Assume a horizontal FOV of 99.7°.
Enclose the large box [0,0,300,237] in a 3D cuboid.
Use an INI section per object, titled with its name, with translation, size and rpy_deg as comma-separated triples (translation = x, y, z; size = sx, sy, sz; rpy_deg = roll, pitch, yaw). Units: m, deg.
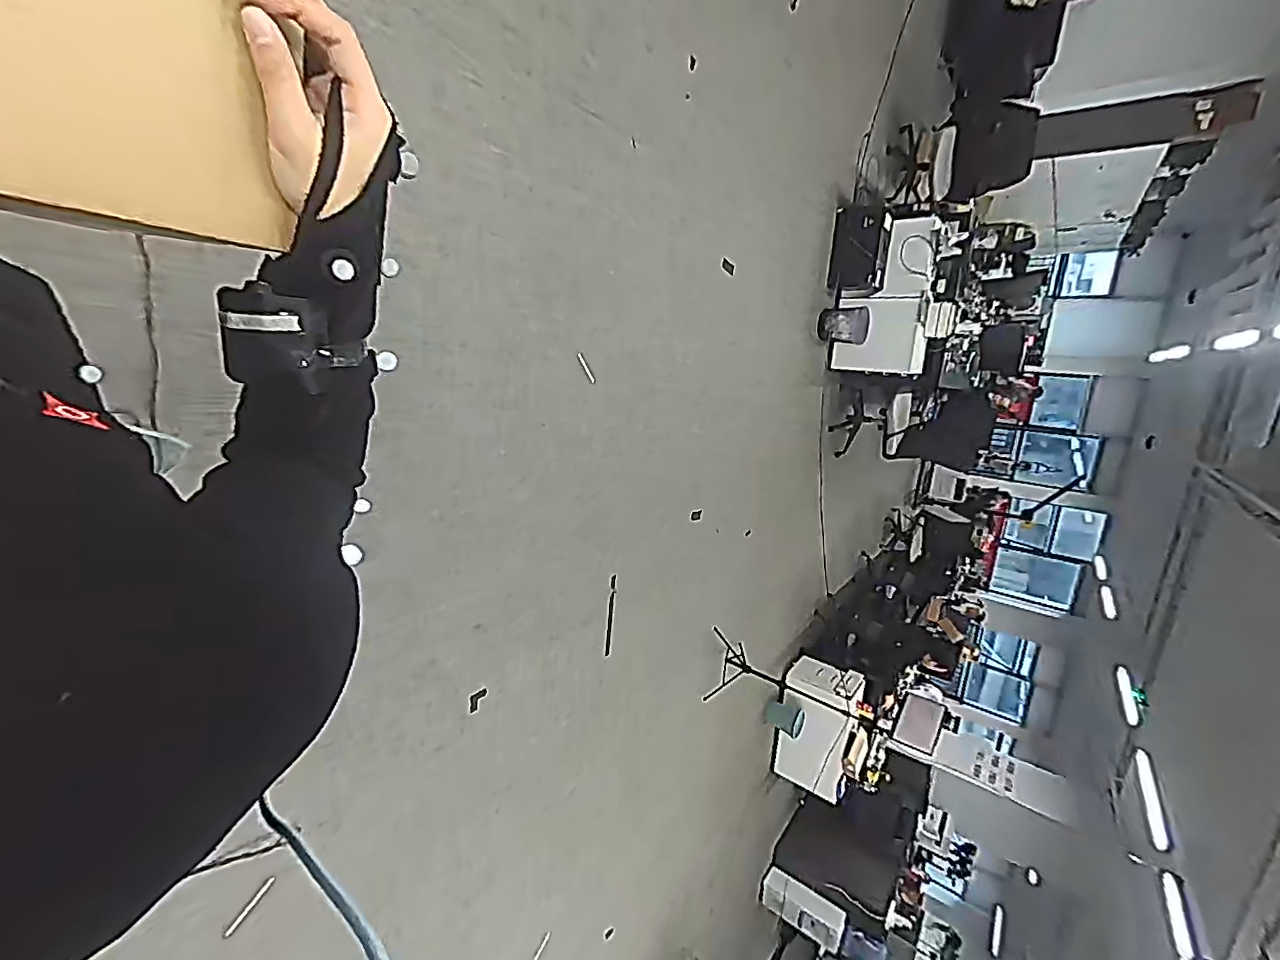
[large box]
translation = -0.418, -0.305, 0.202
size = 0.408, 0.320, 0.320
rpy_deg = -15, 119, -58
